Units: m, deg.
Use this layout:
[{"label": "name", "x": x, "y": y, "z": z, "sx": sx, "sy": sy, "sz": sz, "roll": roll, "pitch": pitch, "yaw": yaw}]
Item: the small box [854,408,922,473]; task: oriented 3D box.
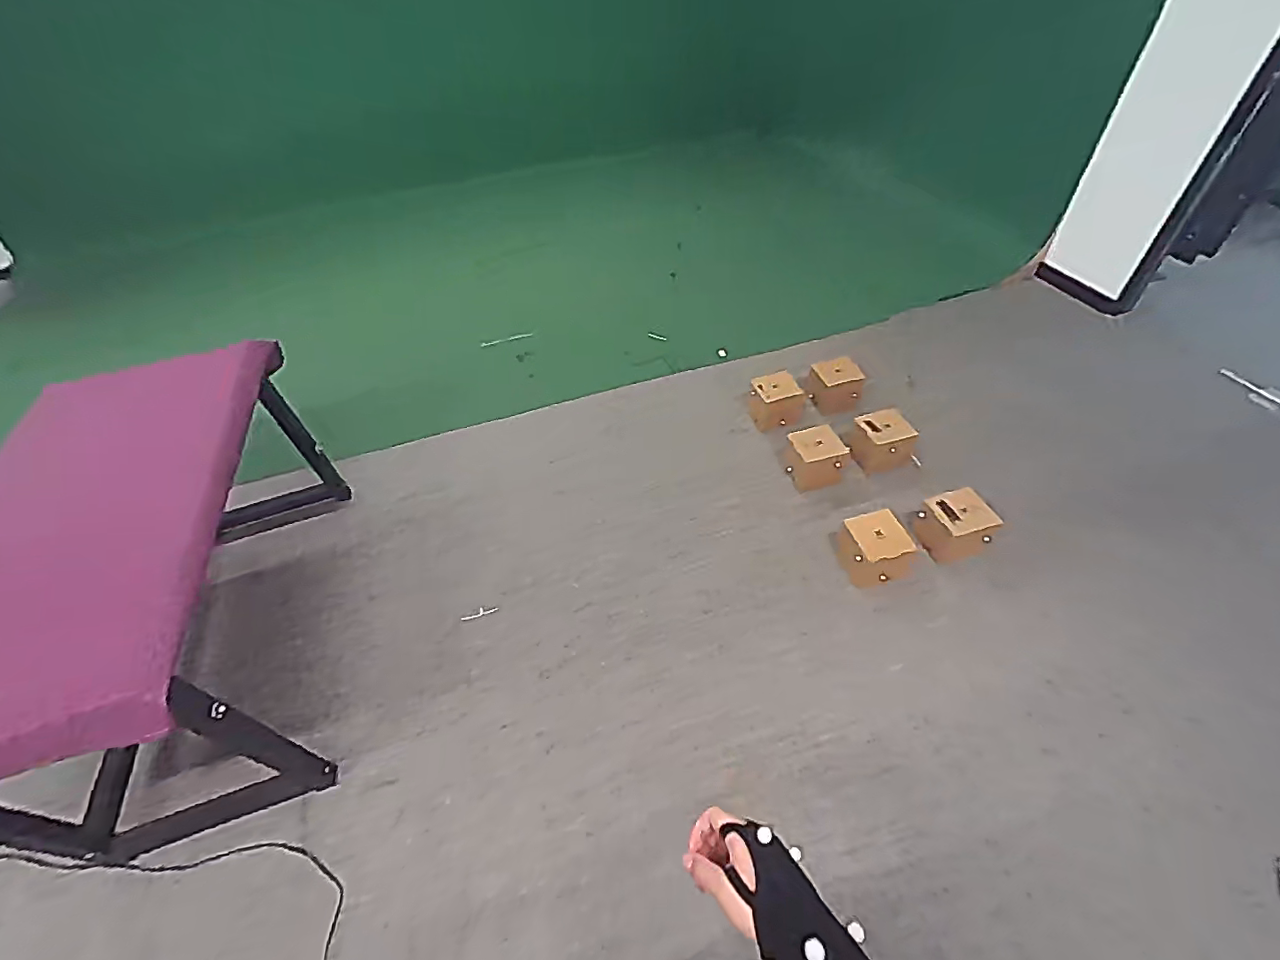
[{"label": "small box", "x": 0.951, "y": -0.149, "z": 2.097, "sx": 0.179, "sy": 0.176, "sz": 0.168, "roll": -14, "pitch": 48, "yaw": -6}]

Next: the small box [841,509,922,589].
[{"label": "small box", "x": 0.784, "y": 0.229, "z": 1.779, "sx": 0.168, "sy": 0.176, "sz": 0.179, "roll": -14, "pitch": 48, "yaw": -5}]

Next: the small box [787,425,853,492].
[{"label": "small box", "x": 0.683, "y": -0.079, "z": 2.069, "sx": 0.179, "sy": 0.176, "sz": 0.168, "roll": -15, "pitch": 47, "yaw": -6}]

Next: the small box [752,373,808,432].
[{"label": "small box", "x": 0.591, "y": -0.329, "z": 2.309, "sx": 0.179, "sy": 0.176, "sz": 0.168, "roll": -15, "pitch": 47, "yaw": -8}]
